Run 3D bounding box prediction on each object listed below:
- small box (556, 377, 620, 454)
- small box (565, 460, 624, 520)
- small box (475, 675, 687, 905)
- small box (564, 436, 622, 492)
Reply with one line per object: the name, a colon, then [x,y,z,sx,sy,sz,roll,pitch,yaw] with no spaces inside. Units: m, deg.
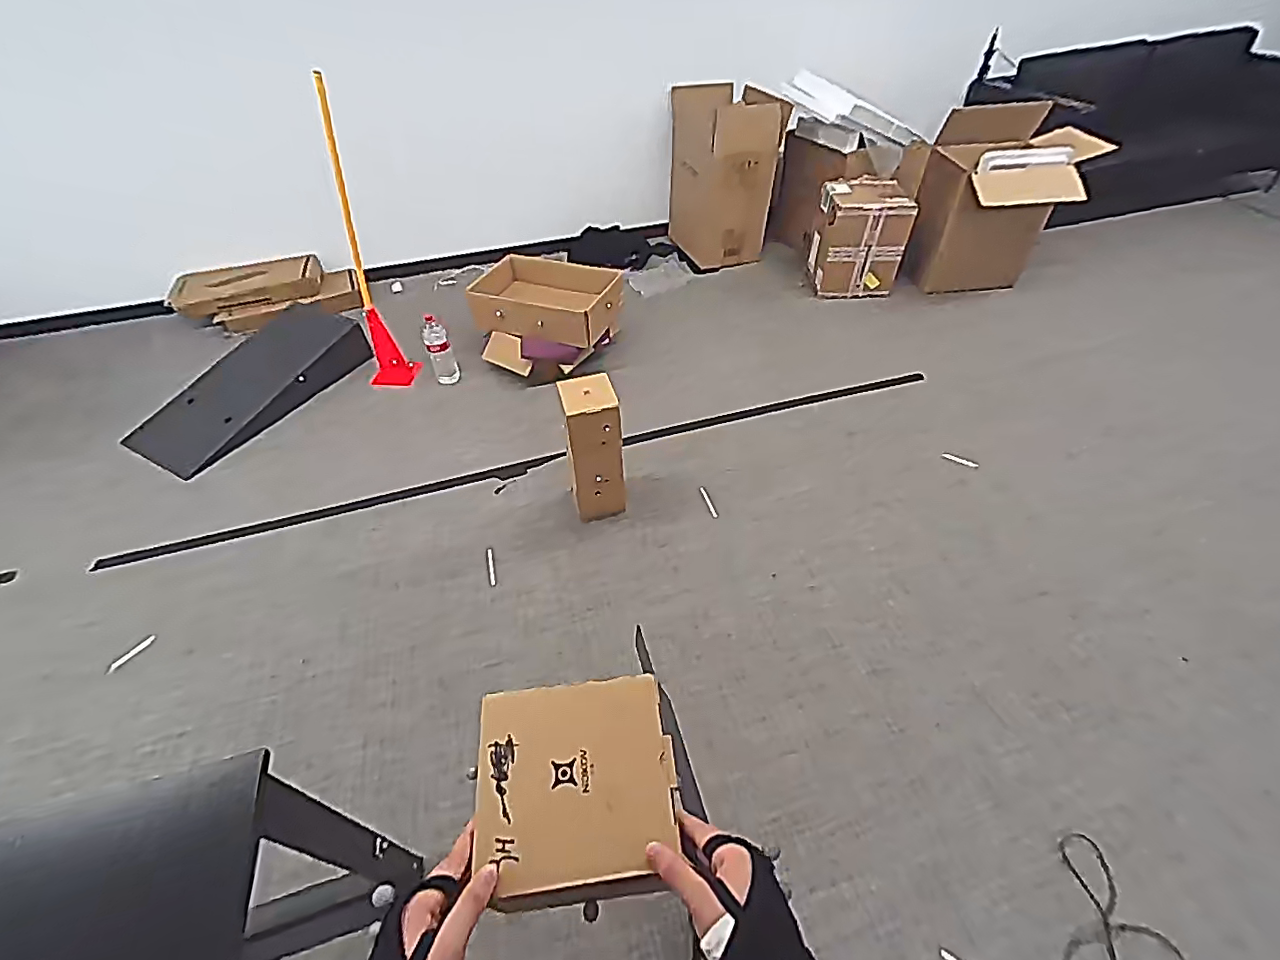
small box: [-0.164,-0.200,1.723,0.168,0.176,0.179,-12,47,-11]
small box: [-0.163,0.024,1.961,0.179,0.176,0.168,-12,48,-10]
small box: [-0.057,0.317,0.551,0.179,0.176,0.168,-4,49,-5]
small box: [-0.162,-0.086,1.838,0.168,0.176,0.179,-13,48,-10]
